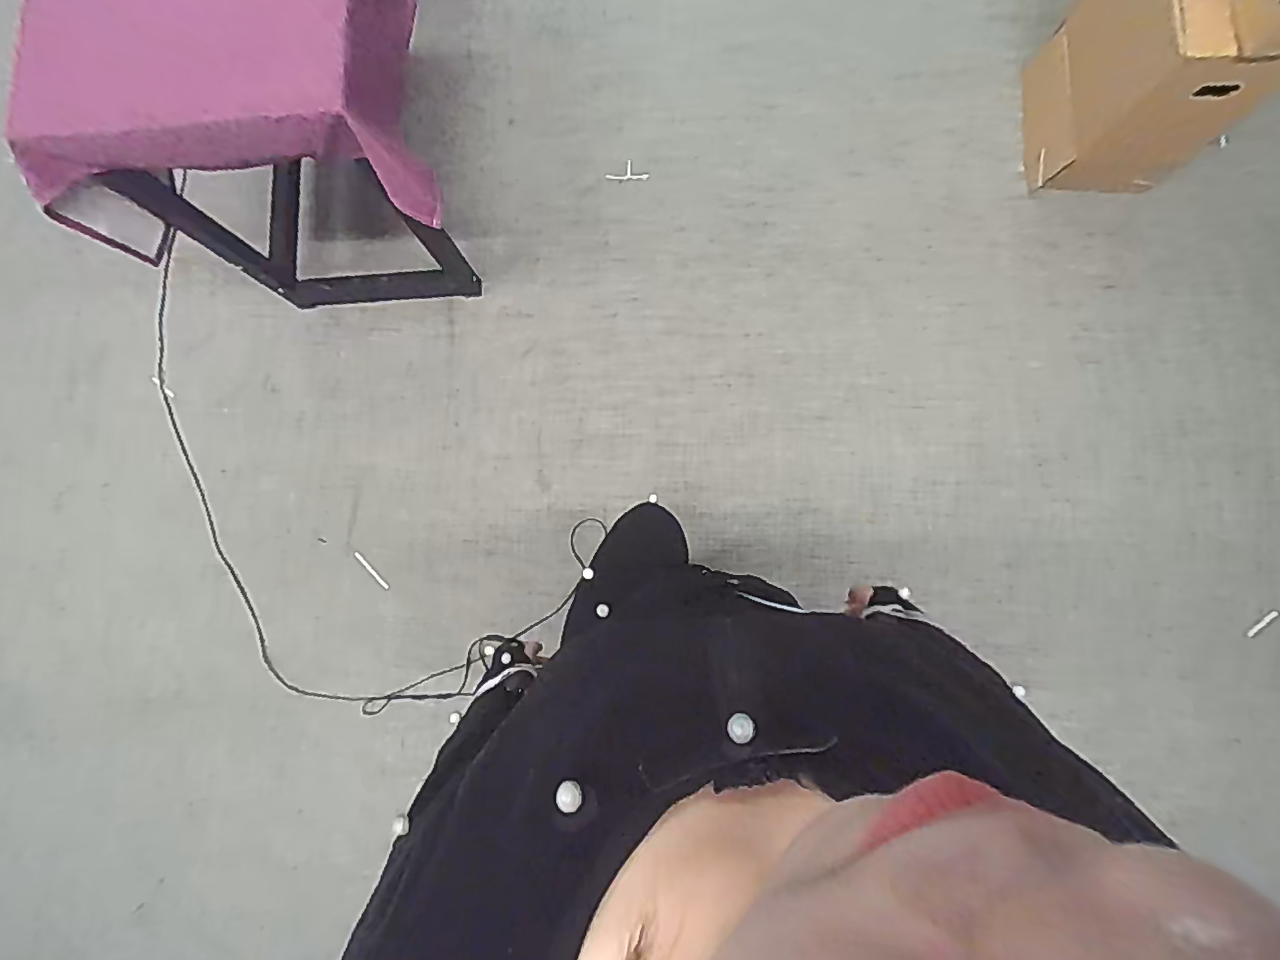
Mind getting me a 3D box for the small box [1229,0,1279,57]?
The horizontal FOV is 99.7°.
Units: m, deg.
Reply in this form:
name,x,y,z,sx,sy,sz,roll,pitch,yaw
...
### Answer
name,x,y,z,sx,sy,sz,roll,pitch,yaw
small box,1.325,-0.968,1.055,0.168,0.176,0.179,0,82,1
